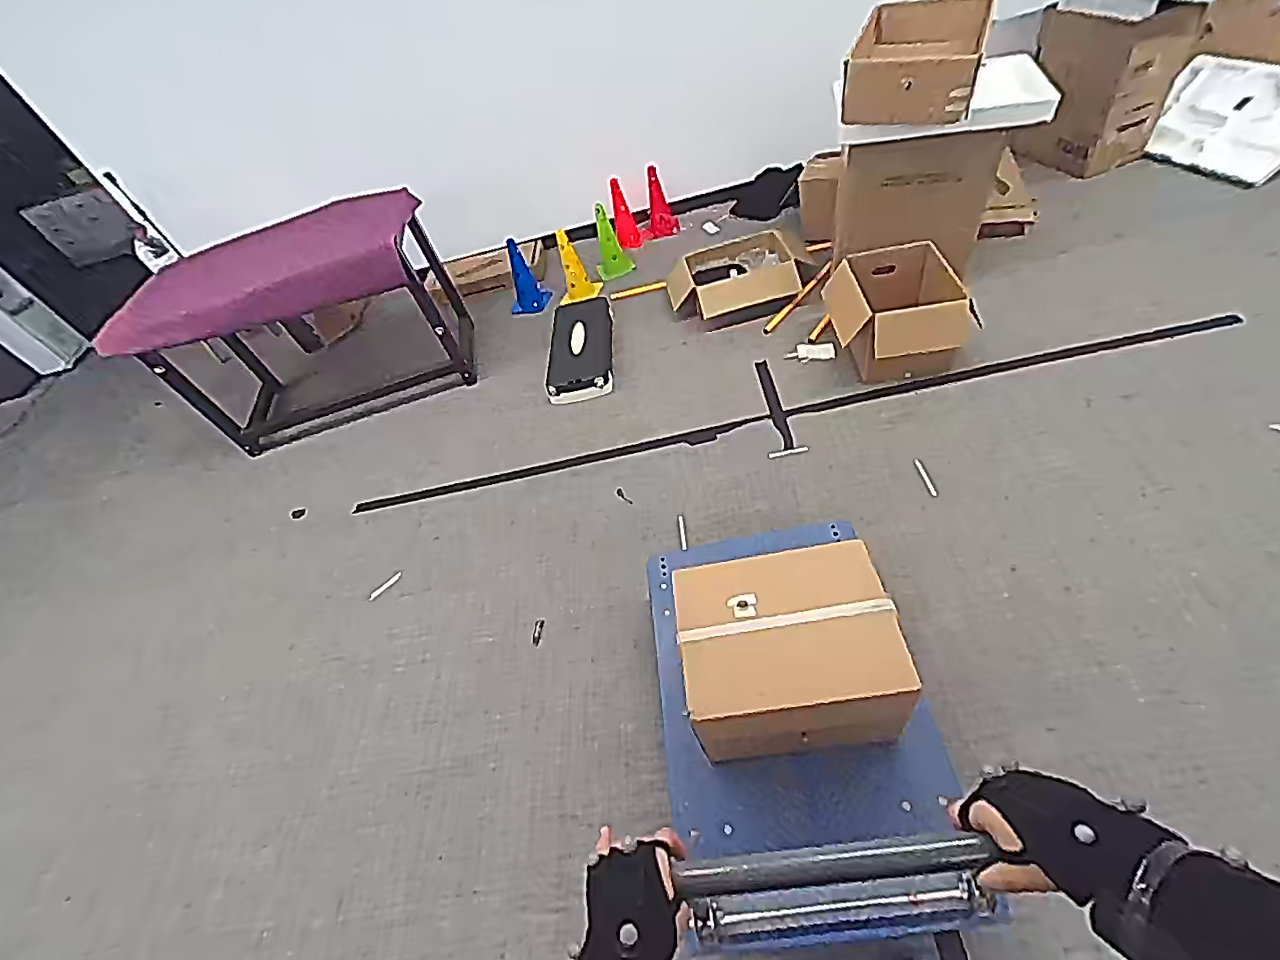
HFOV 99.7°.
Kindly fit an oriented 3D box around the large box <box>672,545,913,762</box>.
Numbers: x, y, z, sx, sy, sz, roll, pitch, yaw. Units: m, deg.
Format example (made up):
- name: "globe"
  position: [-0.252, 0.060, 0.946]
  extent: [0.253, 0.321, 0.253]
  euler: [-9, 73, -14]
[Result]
- name: "large box"
  position: [0.308, 0.384, 1.169]
  extent: [0.408, 0.320, 0.320]
  euler: [-12, 47, 7]
